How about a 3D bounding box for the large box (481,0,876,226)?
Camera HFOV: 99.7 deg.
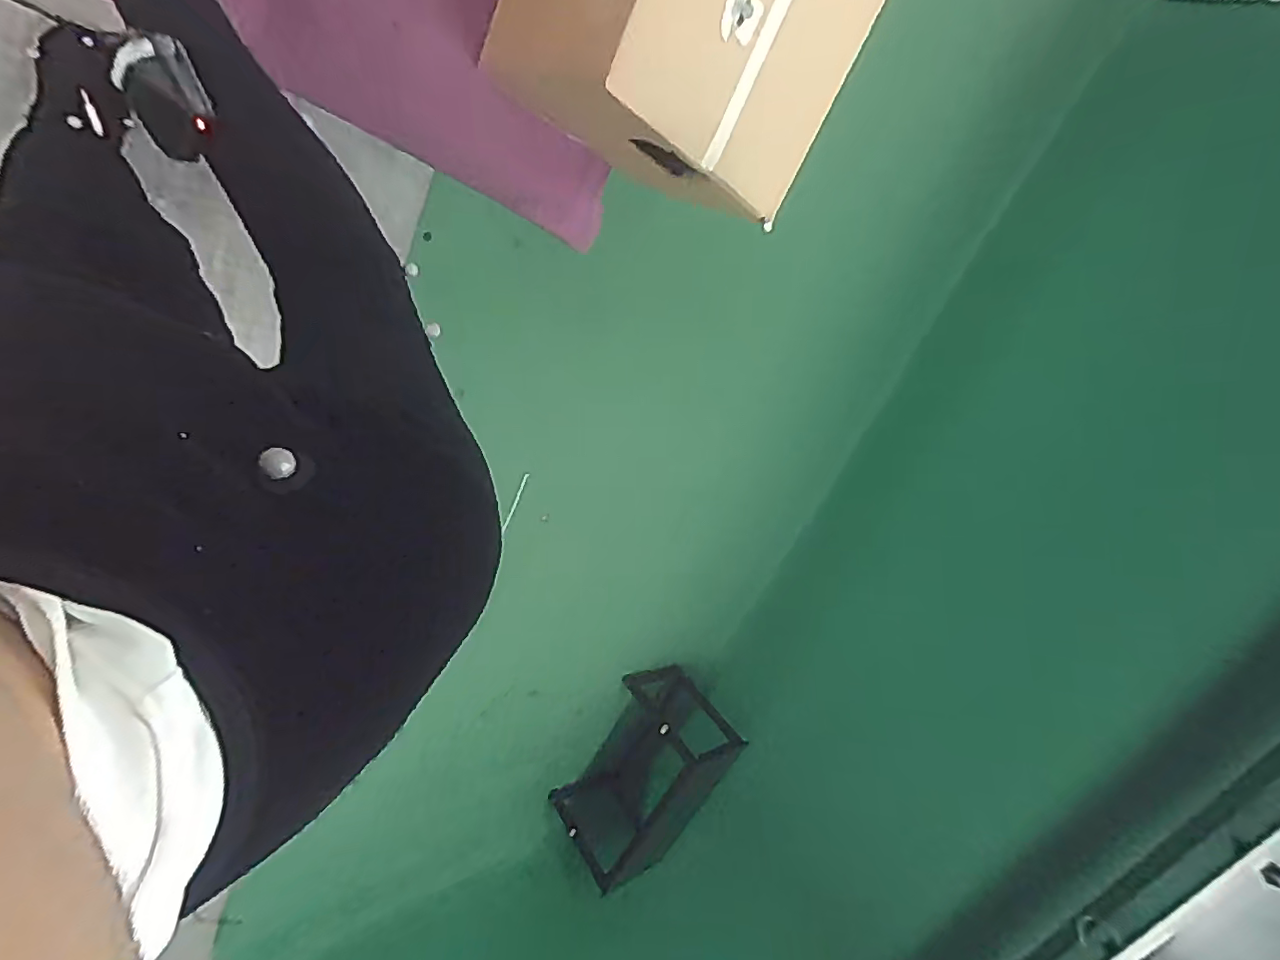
[{"bbox_3d":[0.061,-0.606,0.661,0.320,0.320,0.408,8,117,-46],"label":"large box"}]
